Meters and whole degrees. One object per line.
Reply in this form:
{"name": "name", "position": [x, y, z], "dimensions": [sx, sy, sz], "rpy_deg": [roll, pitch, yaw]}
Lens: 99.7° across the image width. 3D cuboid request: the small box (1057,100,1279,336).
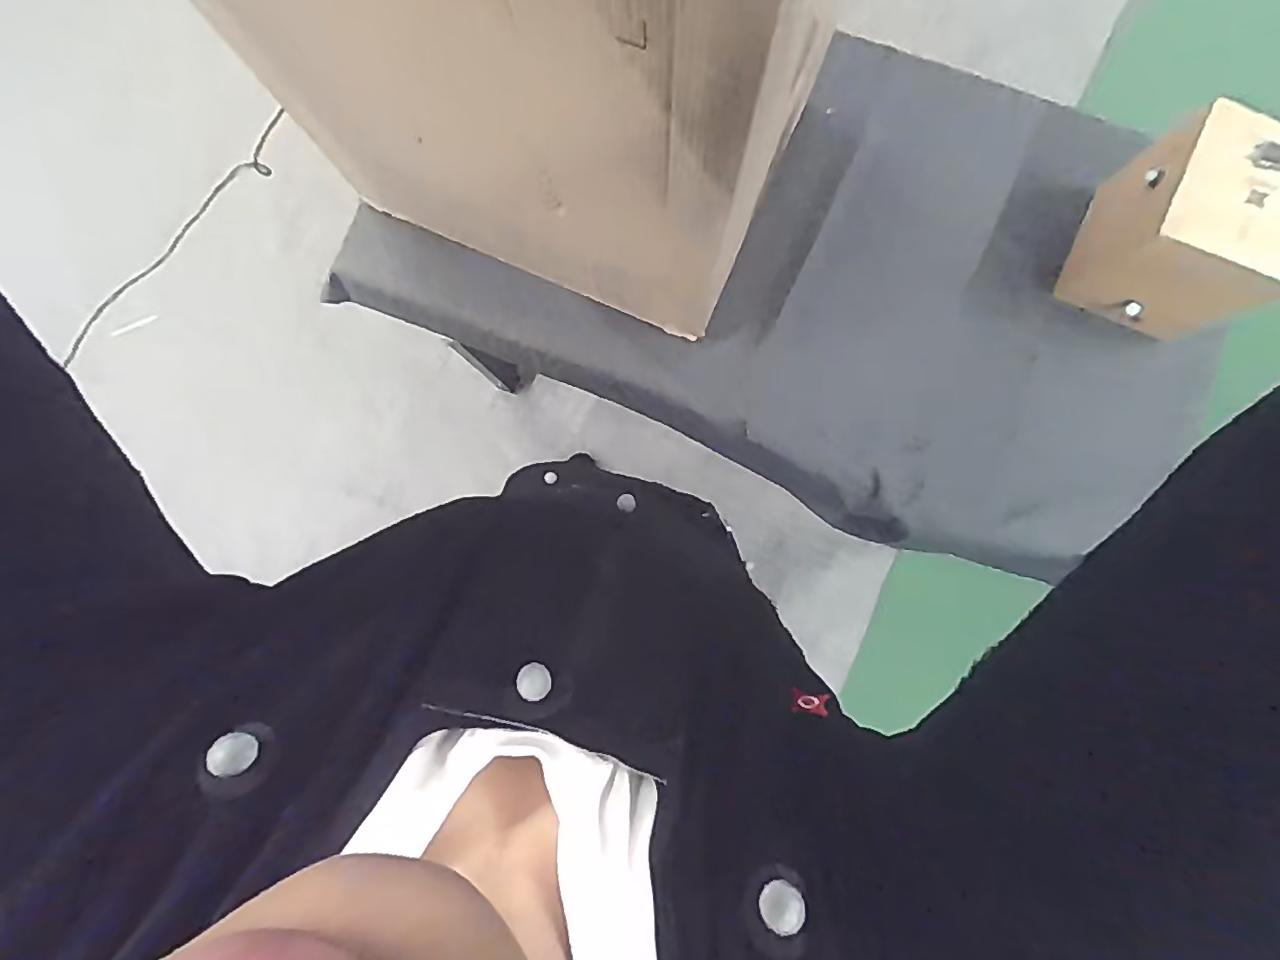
{"name": "small box", "position": [0.682, -0.312, 0.680], "dimensions": [0.168, 0.176, 0.179], "rpy_deg": [25, 87, 4]}
